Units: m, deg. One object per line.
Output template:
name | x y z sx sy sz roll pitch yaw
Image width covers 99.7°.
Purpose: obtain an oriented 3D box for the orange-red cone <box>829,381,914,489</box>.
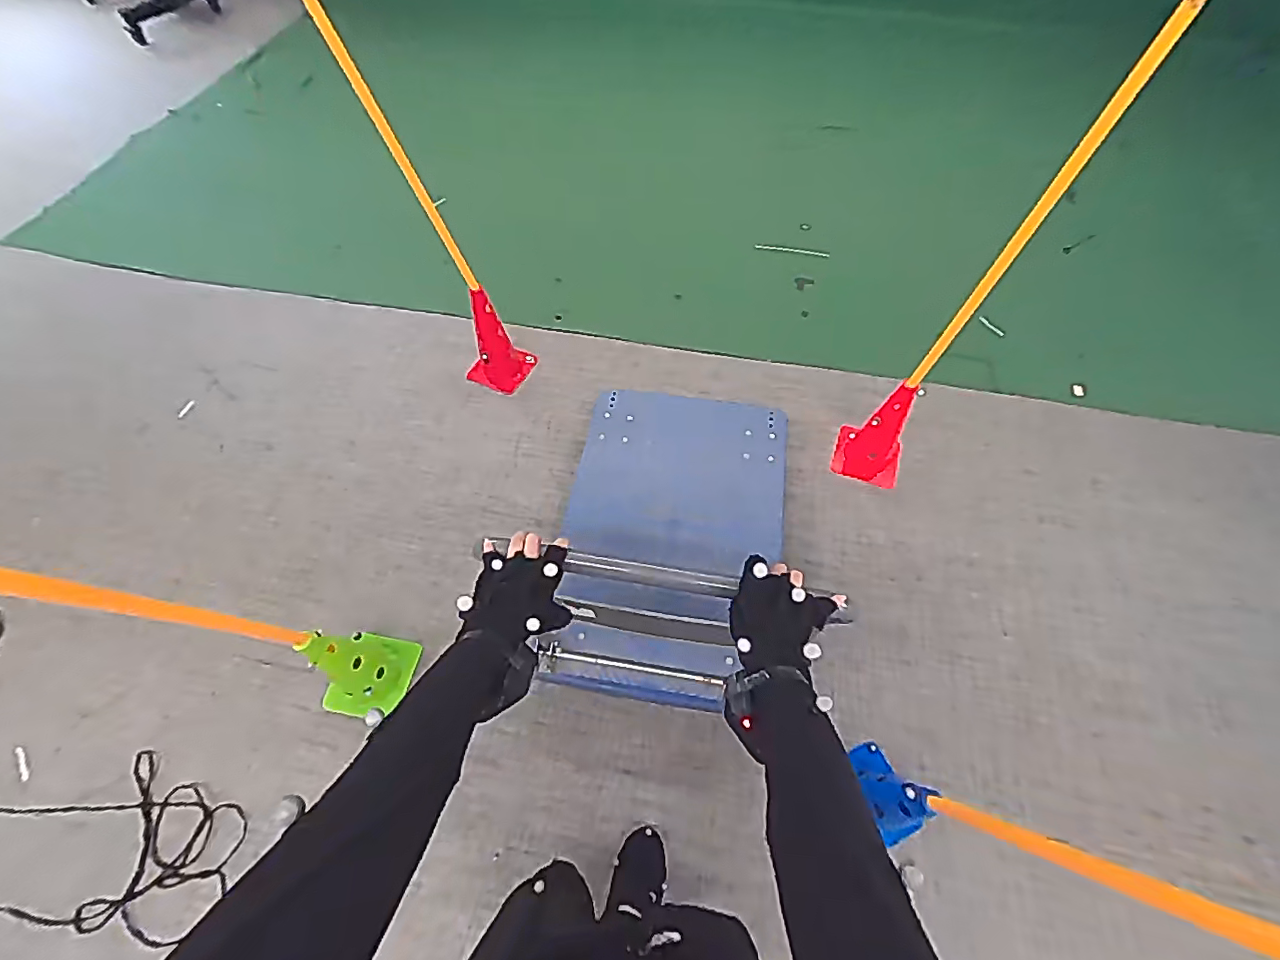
orange-red cone | 0.723 -0.160 1.601 0.198 0.360 0.199 19 61 12
